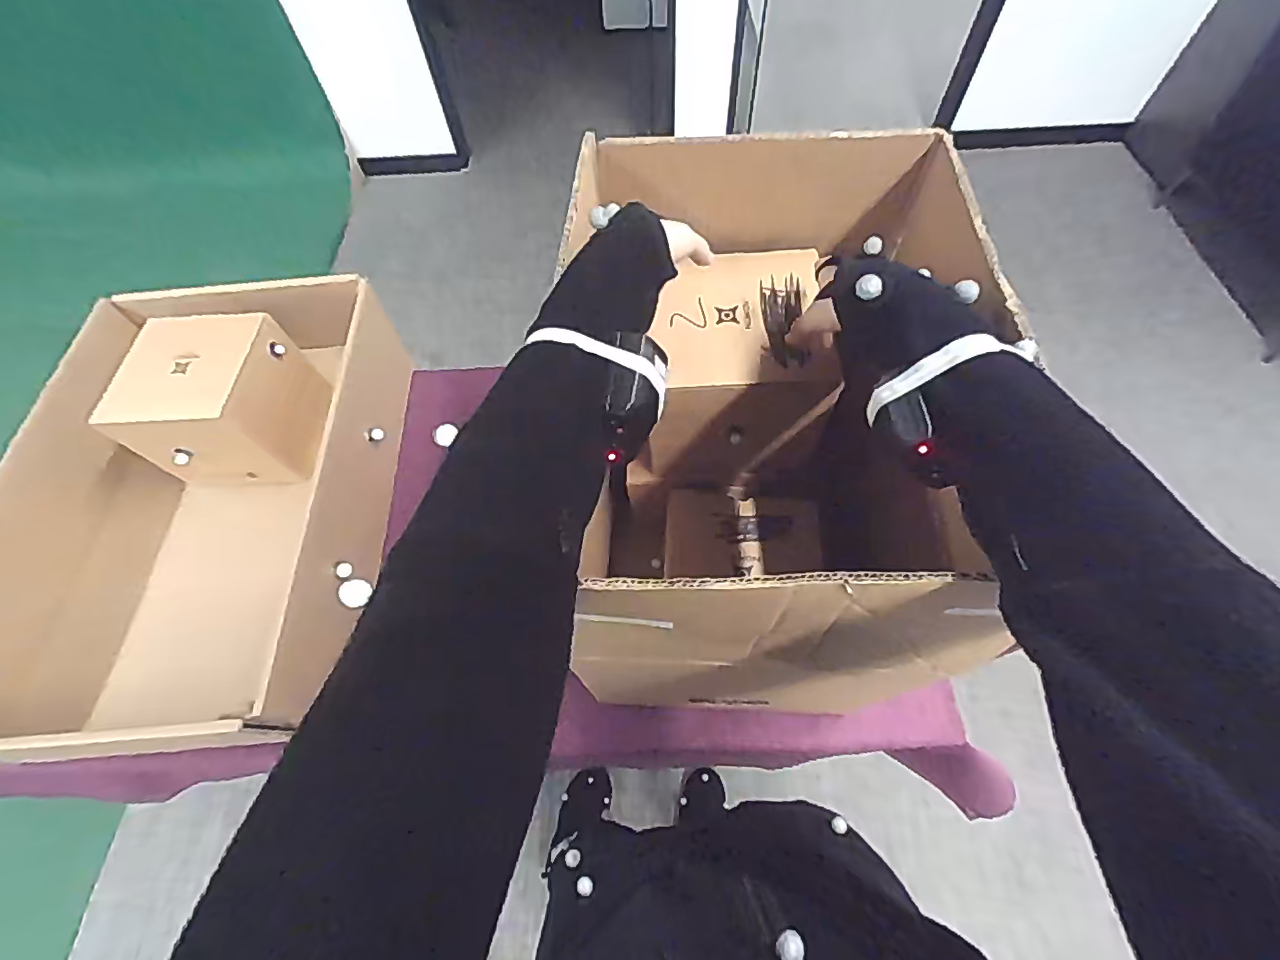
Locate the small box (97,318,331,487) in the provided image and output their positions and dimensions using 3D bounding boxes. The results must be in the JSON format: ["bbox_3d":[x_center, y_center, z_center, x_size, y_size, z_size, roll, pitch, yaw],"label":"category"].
[{"bbox_3d":[-0.570,-0.098,0.756,0.168,0.176,0.179,-3,61,3],"label":"small box"}]
